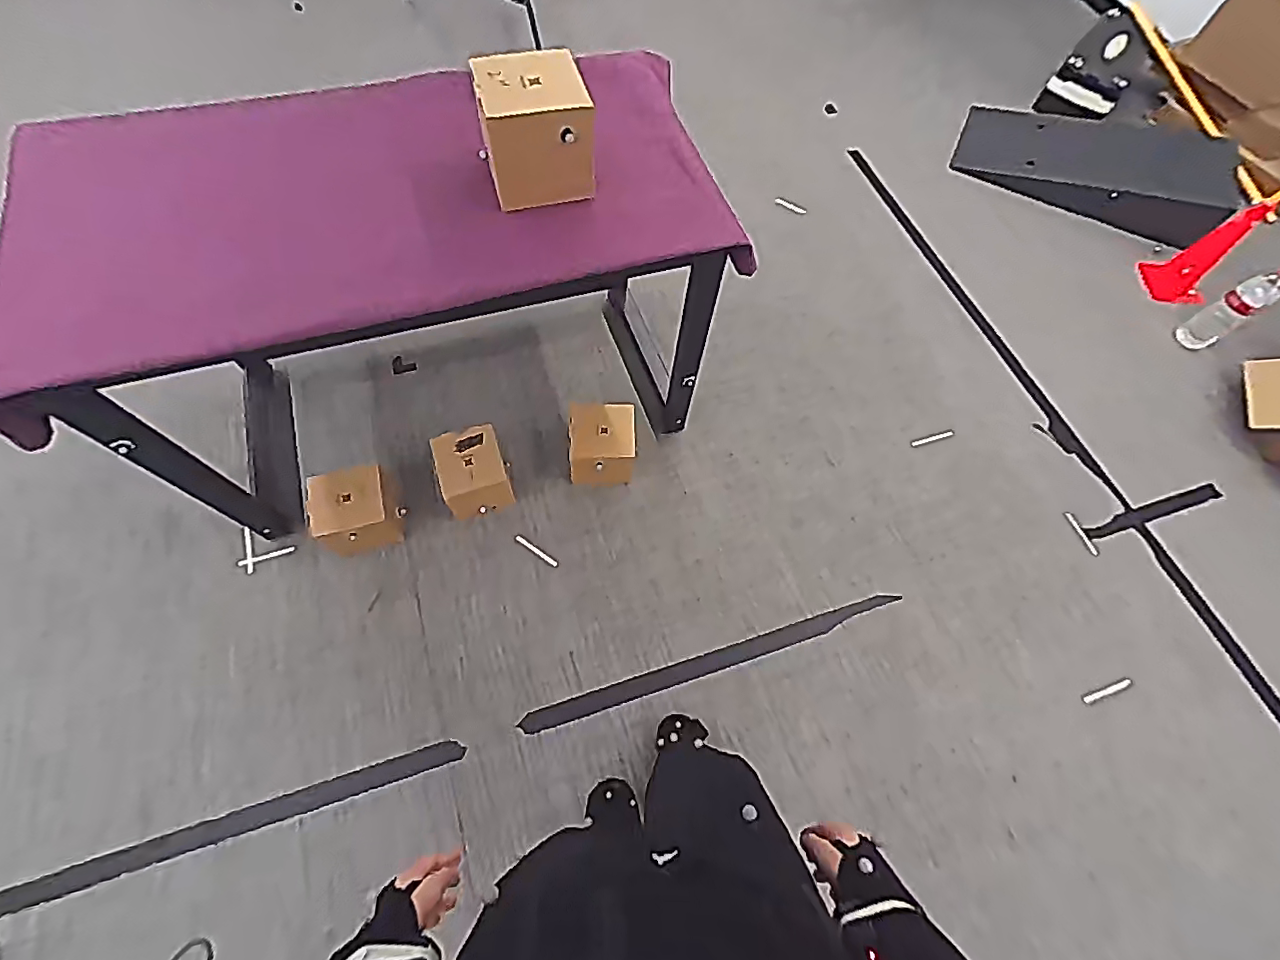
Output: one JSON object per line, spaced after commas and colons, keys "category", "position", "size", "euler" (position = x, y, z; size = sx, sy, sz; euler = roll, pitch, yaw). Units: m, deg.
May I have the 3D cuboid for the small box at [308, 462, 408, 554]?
{"category": "small box", "position": [-0.727, 0.079, 1.404], "size": [0.179, 0.176, 0.168], "euler": [-14, 69, -11]}

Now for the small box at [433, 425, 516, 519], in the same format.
{"category": "small box", "position": [-0.444, -0.018, 1.465], "size": [0.168, 0.176, 0.179], "euler": [-17, 68, -11]}

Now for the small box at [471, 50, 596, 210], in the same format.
{"category": "small box", "position": [-0.182, -0.610, 0.951], "size": [0.179, 0.176, 0.168], "euler": [-14, 66, -10]}

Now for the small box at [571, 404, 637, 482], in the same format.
{"category": "small box", "position": [-0.102, -0.100, 1.528], "size": [0.179, 0.176, 0.168], "euler": [-1, 66, -3]}
